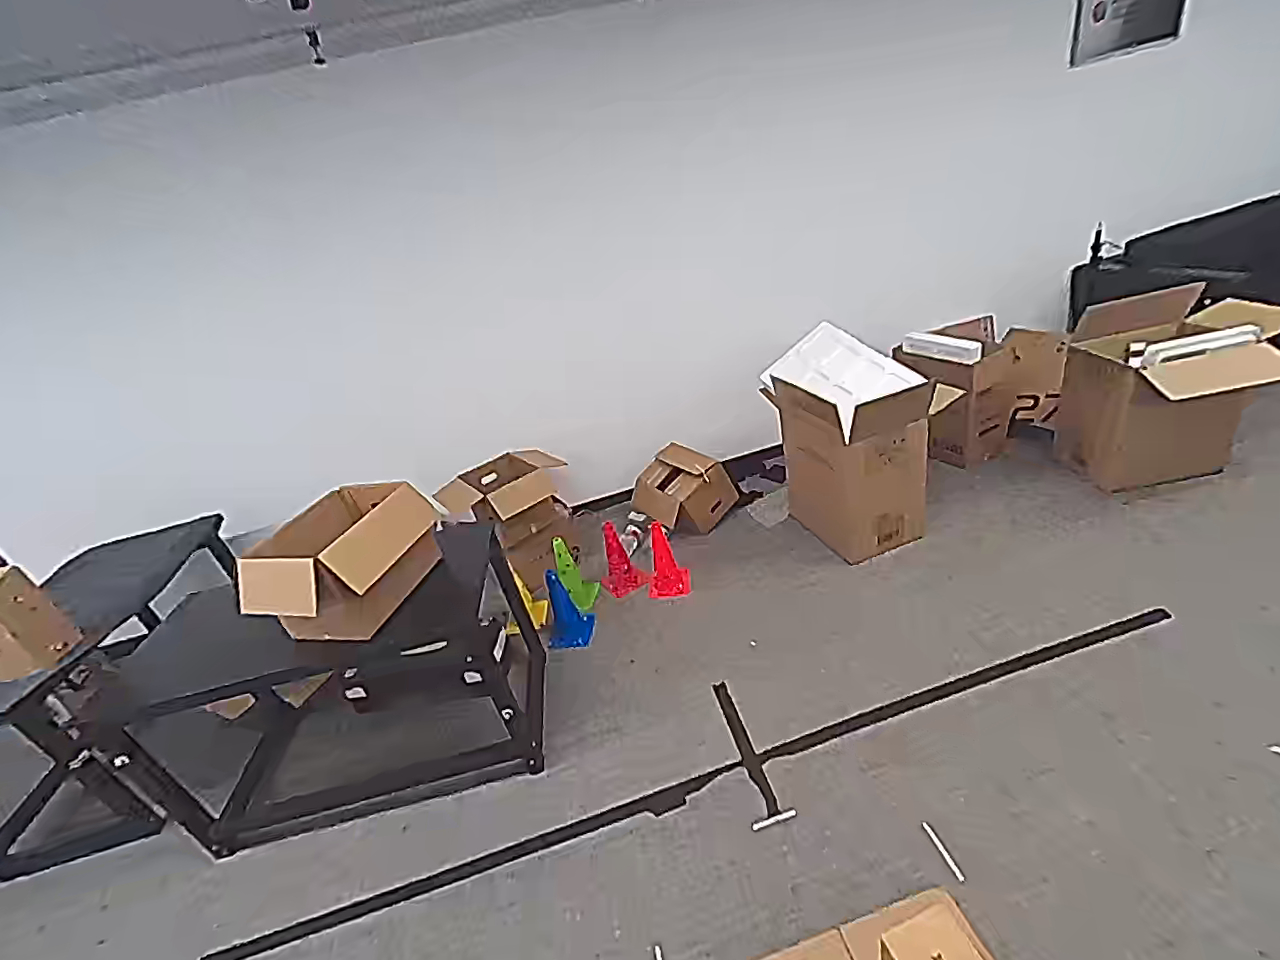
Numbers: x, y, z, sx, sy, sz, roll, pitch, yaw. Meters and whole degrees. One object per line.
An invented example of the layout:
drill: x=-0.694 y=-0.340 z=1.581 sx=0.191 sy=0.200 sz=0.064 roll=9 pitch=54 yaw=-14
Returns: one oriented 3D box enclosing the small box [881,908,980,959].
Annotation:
small box: x=0.642 y=1.085 z=1.158 sx=0.168 sy=0.176 sz=0.179 roll=-19 pitch=27 yaw=-10
